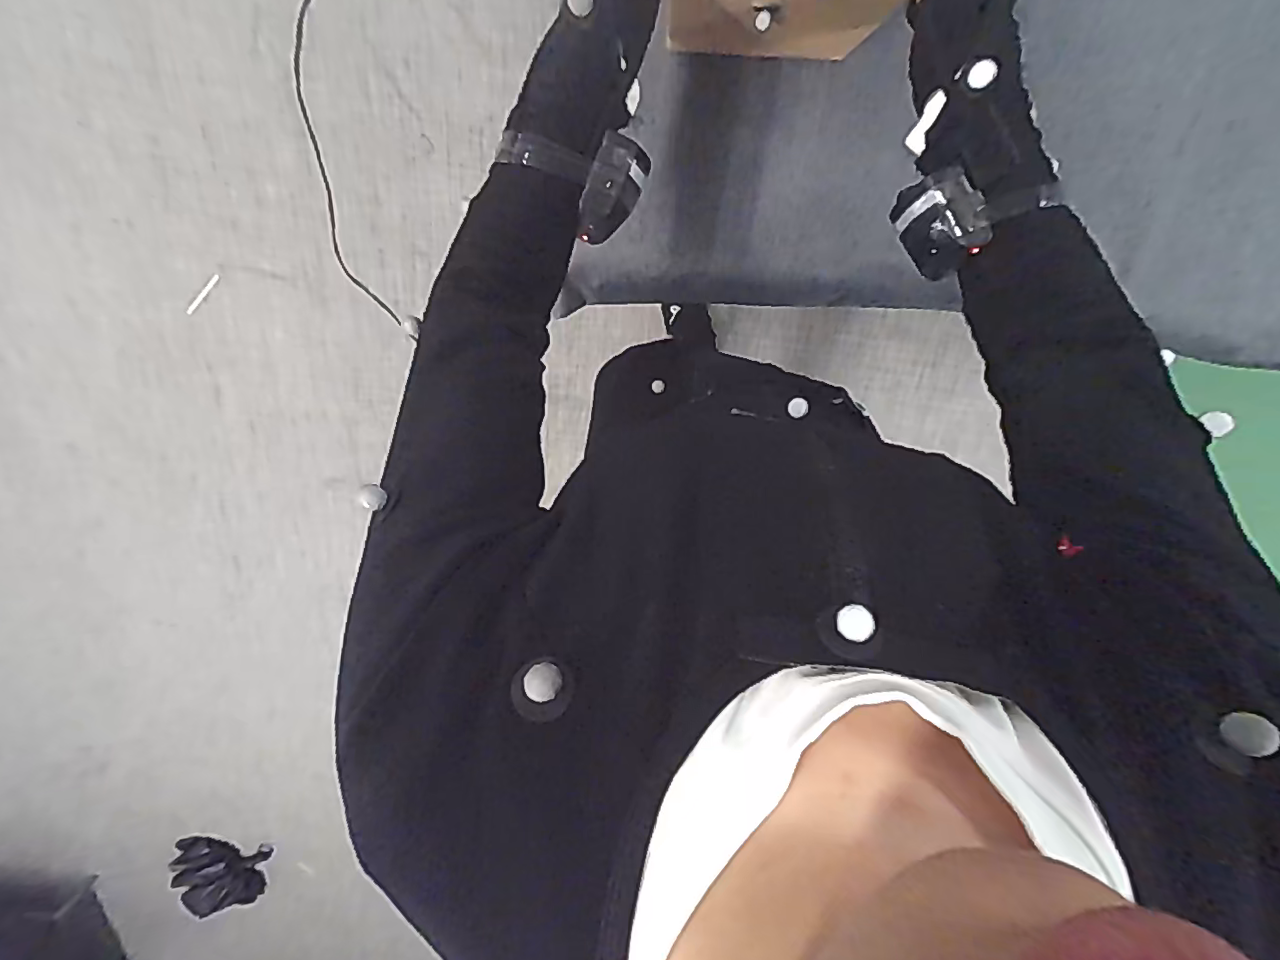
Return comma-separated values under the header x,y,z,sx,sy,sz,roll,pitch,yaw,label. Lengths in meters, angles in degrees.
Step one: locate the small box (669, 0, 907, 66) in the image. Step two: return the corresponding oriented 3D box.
x,y,z,sx,sy,sz,roll,pitch,yaw,label
0.116,-0.452,0.428,0.179,0.176,0.168,3,115,0,small box
